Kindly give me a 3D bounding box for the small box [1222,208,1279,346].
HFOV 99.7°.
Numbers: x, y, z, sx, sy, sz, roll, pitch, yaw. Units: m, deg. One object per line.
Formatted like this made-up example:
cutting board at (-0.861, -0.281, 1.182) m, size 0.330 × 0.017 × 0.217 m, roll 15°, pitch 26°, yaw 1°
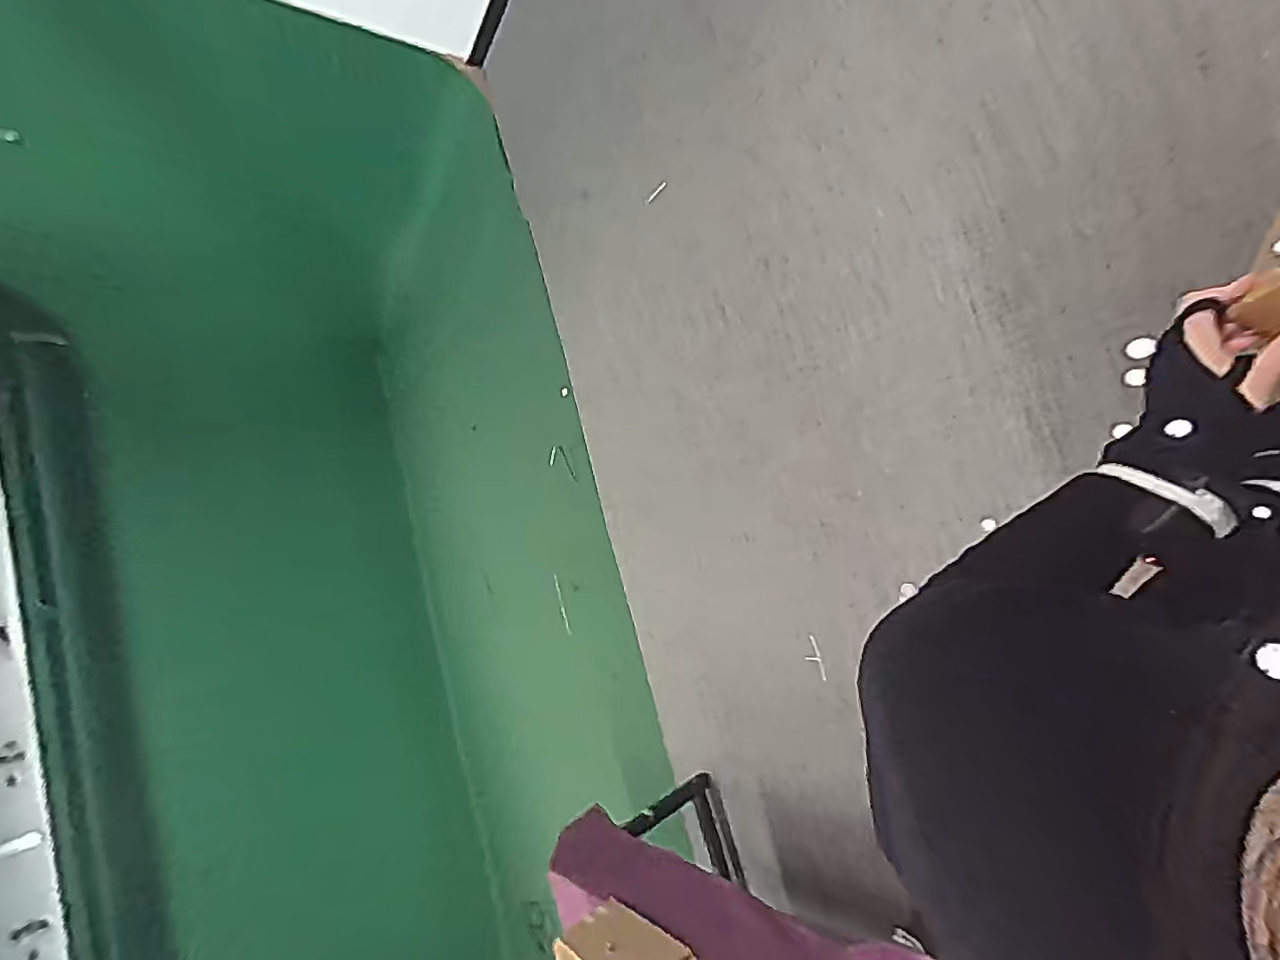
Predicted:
small box at (0.550, -0.173, 0.334) m, size 0.168 × 0.176 × 0.179 m, roll 33°, pitch 170°, yaw 12°
